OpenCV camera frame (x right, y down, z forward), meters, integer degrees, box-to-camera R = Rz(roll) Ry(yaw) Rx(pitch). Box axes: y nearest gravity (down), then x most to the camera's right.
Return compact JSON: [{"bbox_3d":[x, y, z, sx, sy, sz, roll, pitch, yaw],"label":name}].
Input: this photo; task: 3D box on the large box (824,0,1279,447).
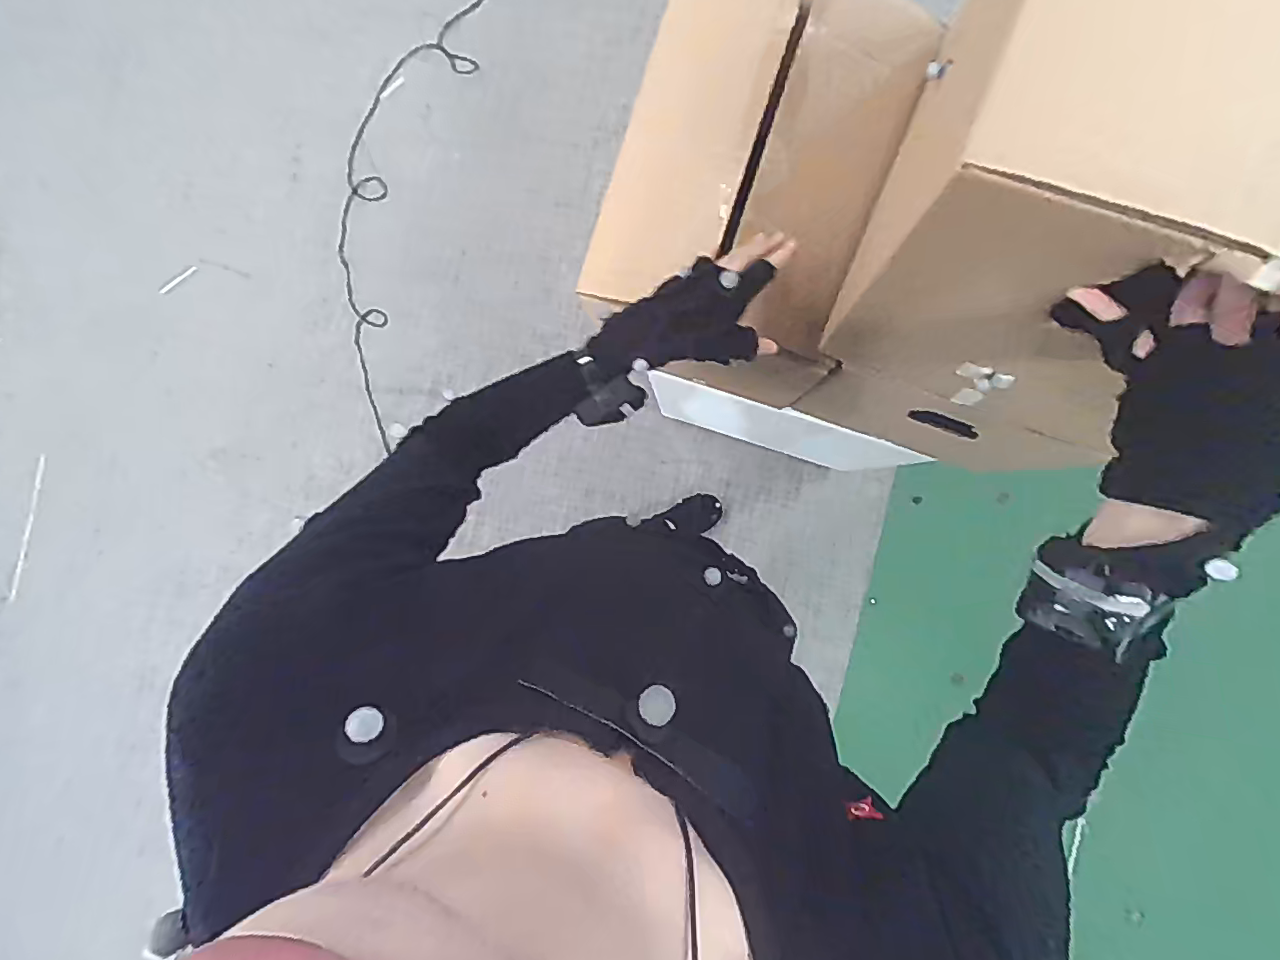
[{"bbox_3d":[0.384,-0.278,0.413,0.320,0.320,0.408,23,88,7],"label":"large box"}]
